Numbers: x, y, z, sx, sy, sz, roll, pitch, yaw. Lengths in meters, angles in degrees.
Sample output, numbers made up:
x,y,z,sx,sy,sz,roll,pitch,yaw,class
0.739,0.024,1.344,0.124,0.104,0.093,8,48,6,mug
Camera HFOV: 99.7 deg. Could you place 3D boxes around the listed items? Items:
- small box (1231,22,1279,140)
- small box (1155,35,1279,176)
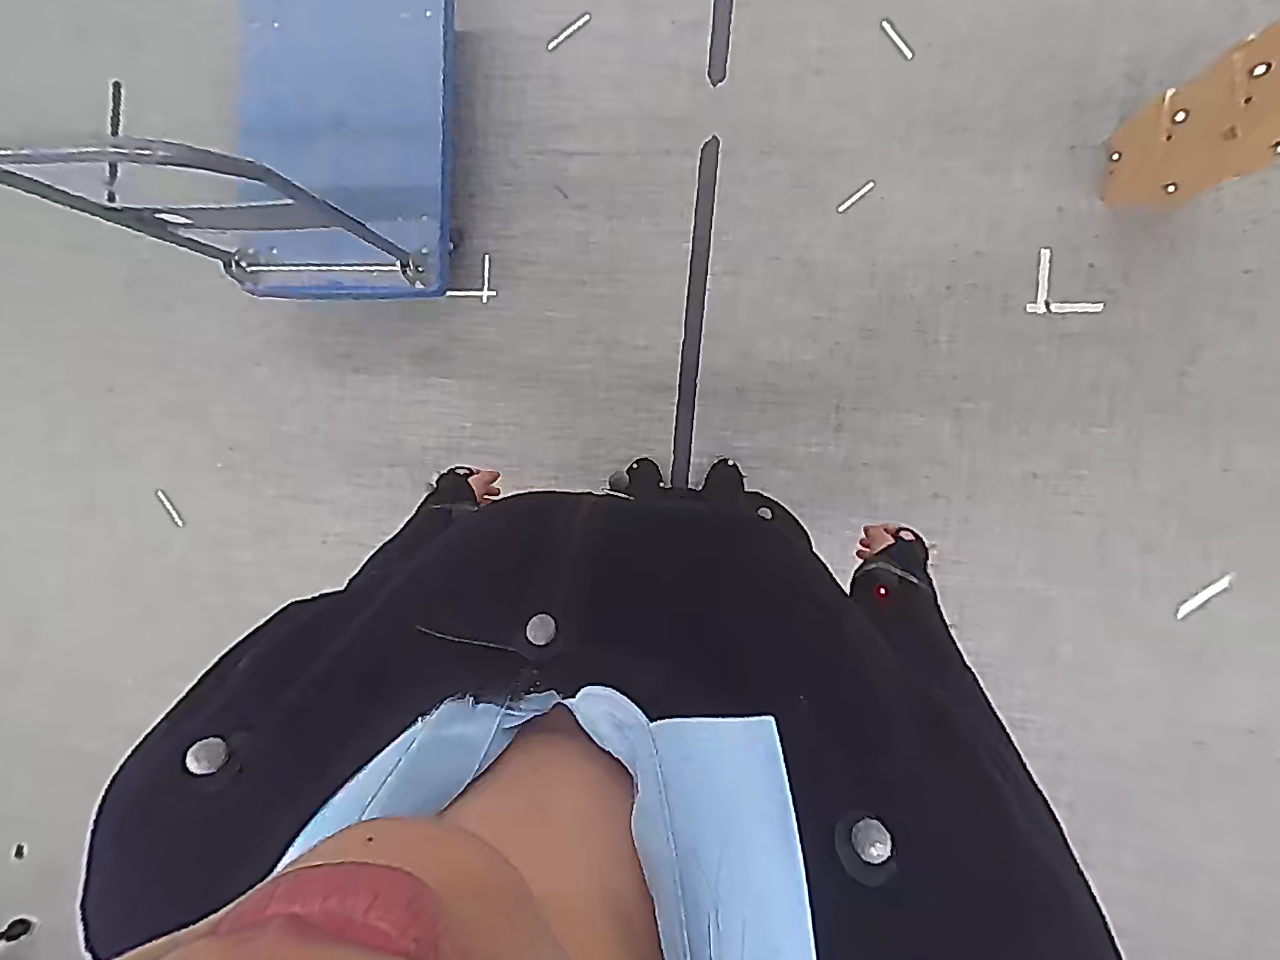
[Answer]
x,y,z,sx,sy,sz,roll,pitch,yaw,class
1.170,-0.708,0.907,0.179,0.176,0.168,-3,92,8,small box
1.193,-0.728,1.067,0.179,0.176,0.168,9,93,8,small box
